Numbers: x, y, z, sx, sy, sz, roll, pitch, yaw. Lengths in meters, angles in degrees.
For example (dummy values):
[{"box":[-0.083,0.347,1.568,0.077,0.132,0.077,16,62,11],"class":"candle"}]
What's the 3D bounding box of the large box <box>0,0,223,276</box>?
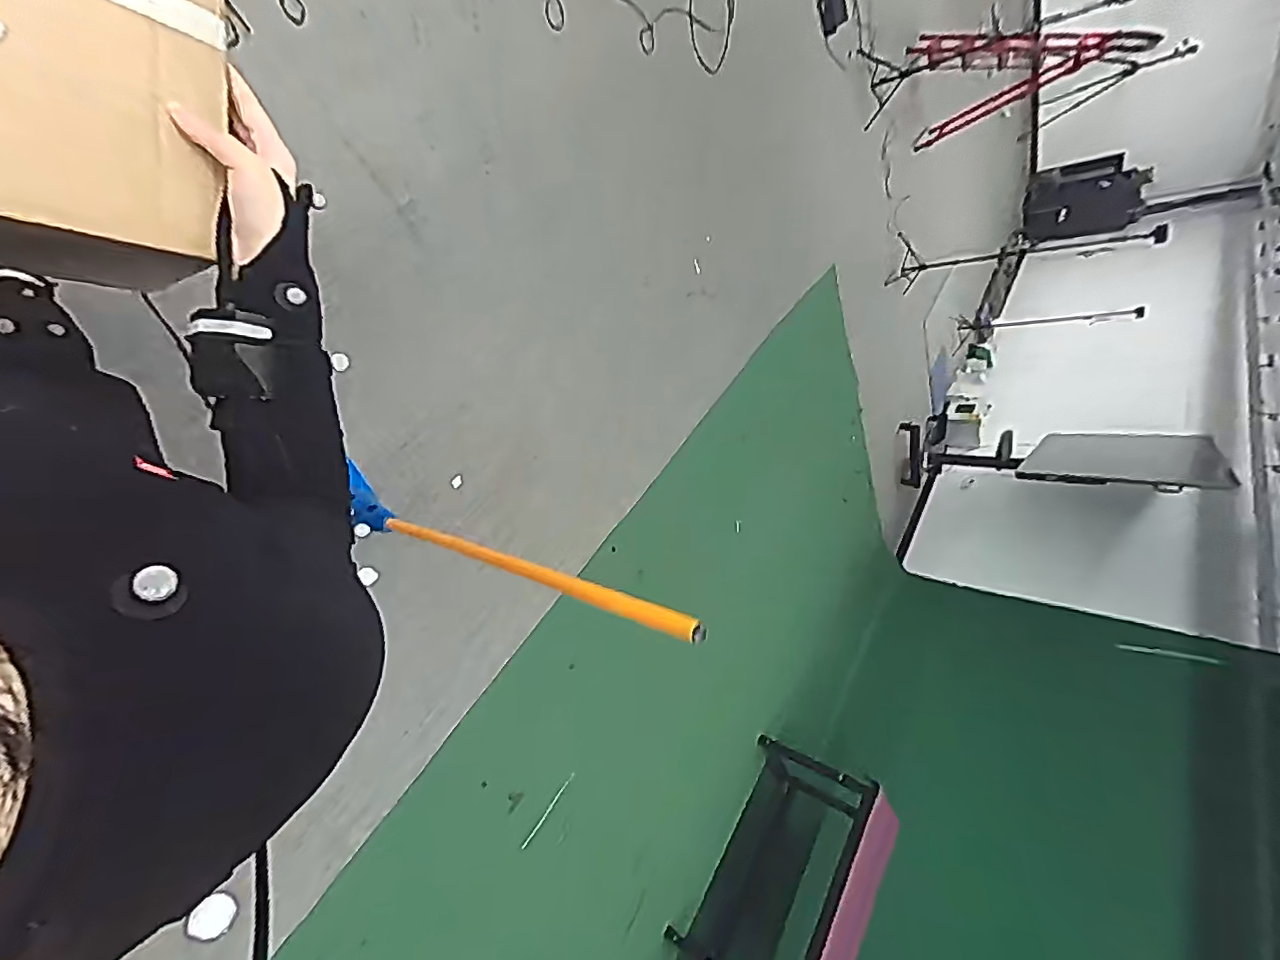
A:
[{"box":[-0.554,-0.341,0.337,0.408,0.320,0.320,-5,103,-50],"class":"large box"}]
